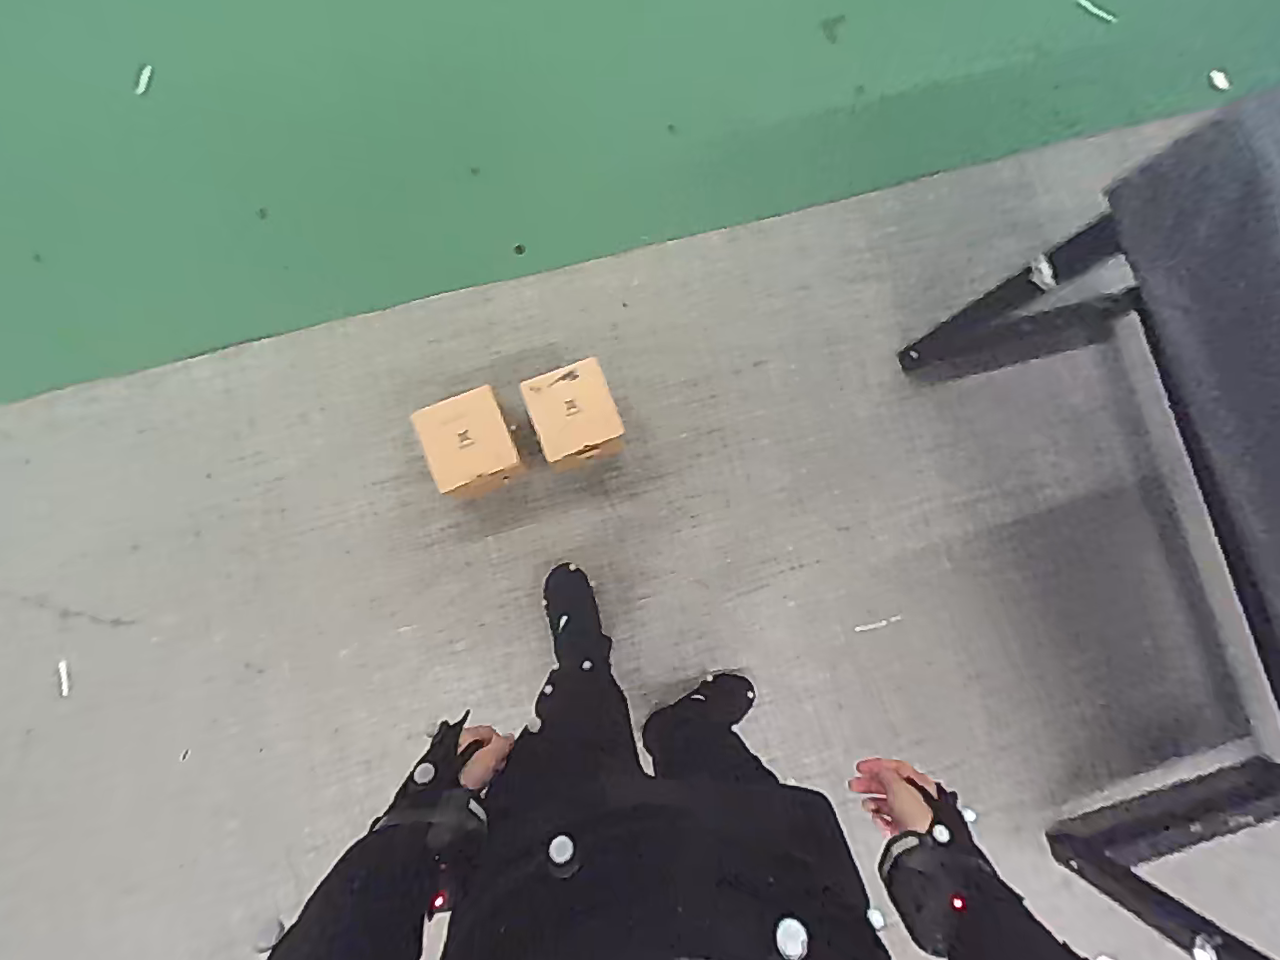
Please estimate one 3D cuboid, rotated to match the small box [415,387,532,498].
[{"bbox_3d":[-0.341,-0.069,1.144,0.168,0.176,0.179,-23,84,-6],"label":"small box"}]
